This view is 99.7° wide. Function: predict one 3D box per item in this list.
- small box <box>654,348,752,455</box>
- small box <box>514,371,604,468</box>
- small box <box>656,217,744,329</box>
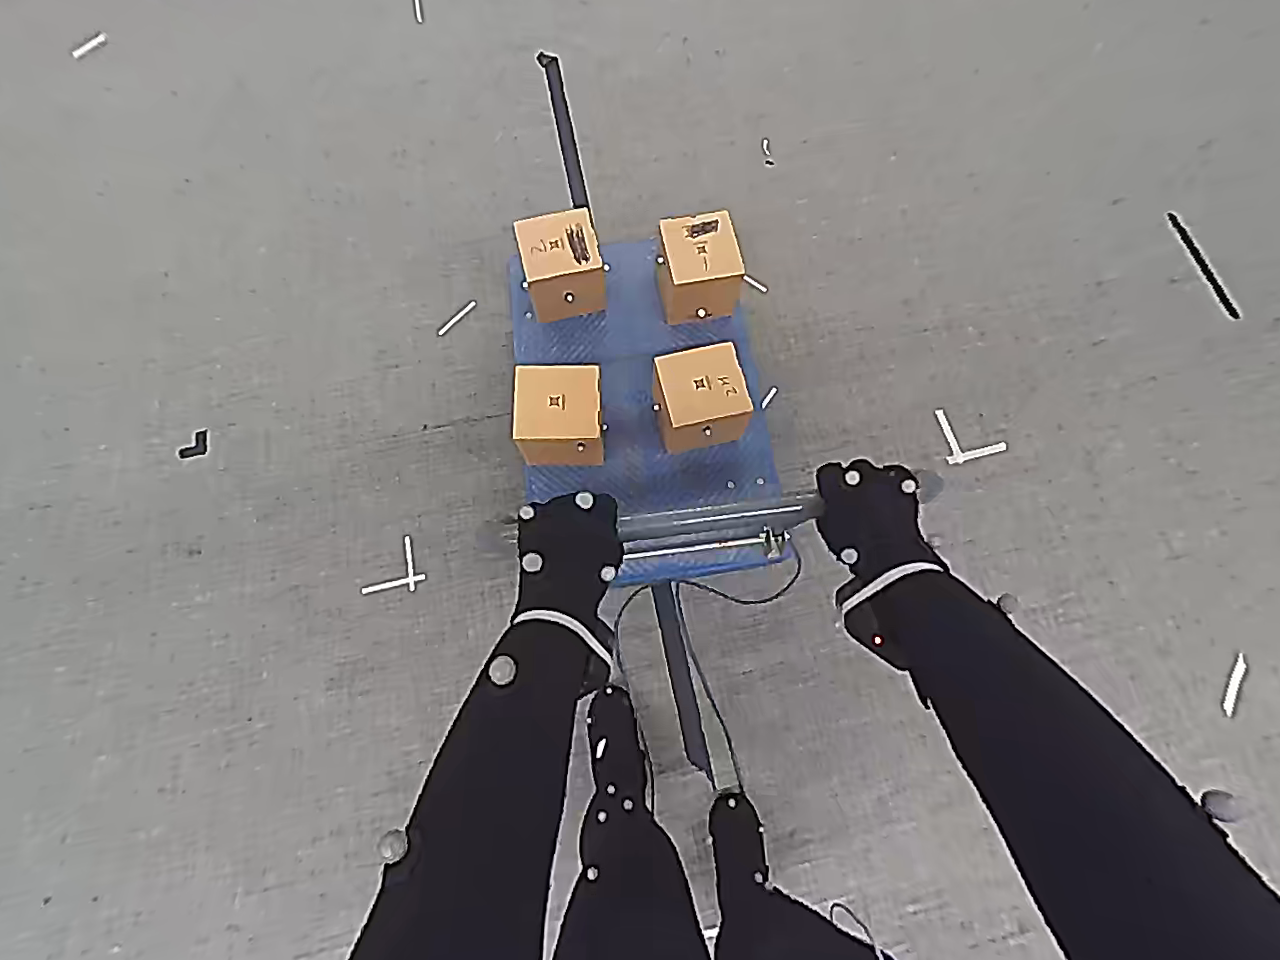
[{"bbox_3d":[0.131,-0.167,1.204,0.179,0.176,0.168,-13,74,-5],"label":"small box"},{"bbox_3d":[-0.171,-0.127,1.187,0.179,0.176,0.168,-1,73,-3],"label":"small box"},{"bbox_3d":[0.136,-0.492,1.299,0.168,0.176,0.179,-10,75,-4],"label":"small box"}]
